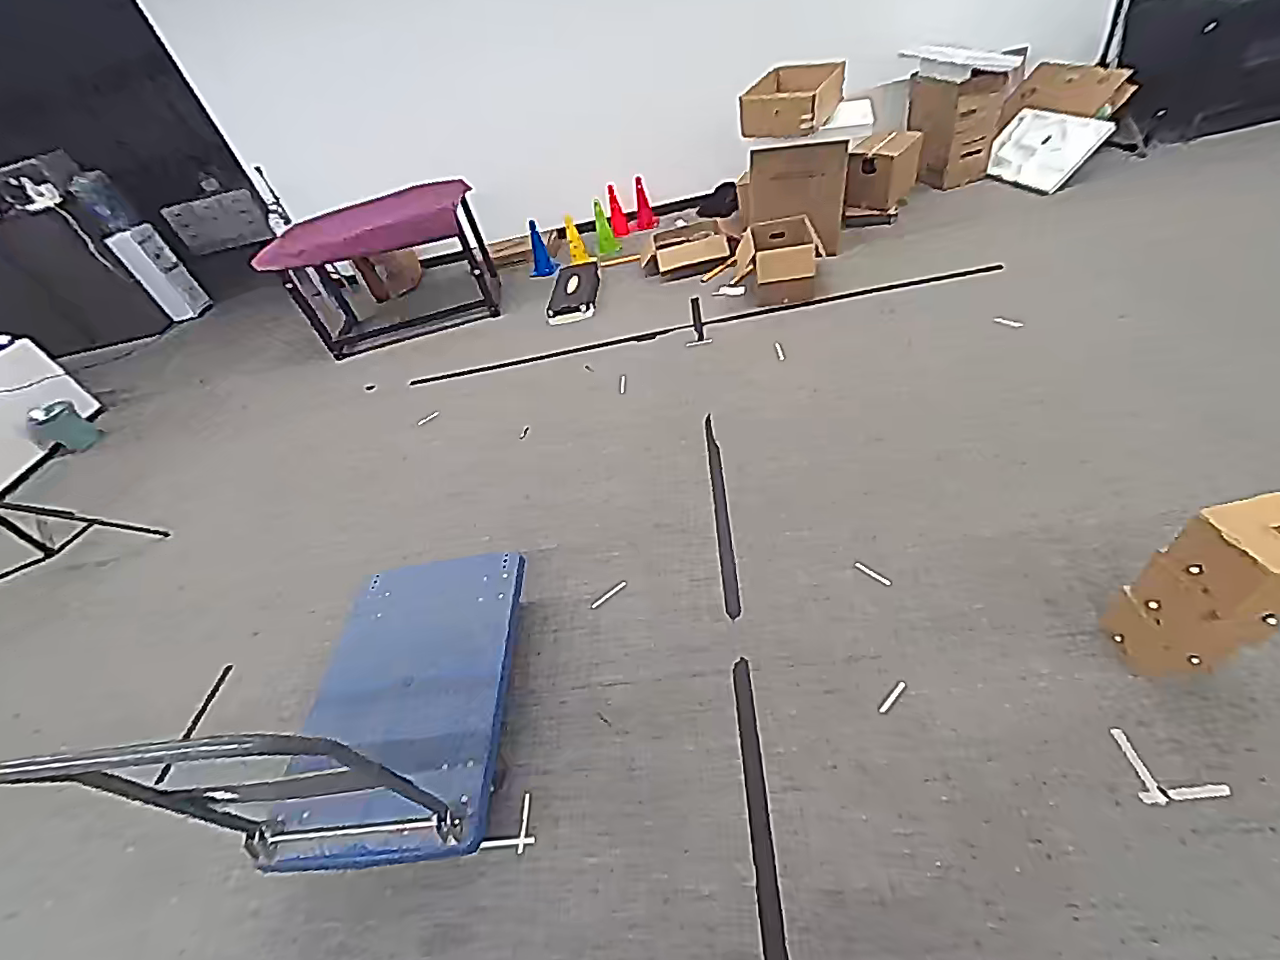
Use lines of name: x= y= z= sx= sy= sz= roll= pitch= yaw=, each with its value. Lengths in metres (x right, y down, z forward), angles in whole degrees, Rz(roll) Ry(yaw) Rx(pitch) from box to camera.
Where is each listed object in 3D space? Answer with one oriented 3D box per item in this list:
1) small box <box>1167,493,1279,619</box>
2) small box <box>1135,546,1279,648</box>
small box: x=1.243 y=0.155 z=1.090 sx=0.179 sy=0.176 sz=0.168 roll=-14 pitch=42 yaw=3
small box: x=1.277 y=0.261 z=1.209 sx=0.179 sy=0.176 sz=0.168 roll=-6 pitch=43 yaw=12
